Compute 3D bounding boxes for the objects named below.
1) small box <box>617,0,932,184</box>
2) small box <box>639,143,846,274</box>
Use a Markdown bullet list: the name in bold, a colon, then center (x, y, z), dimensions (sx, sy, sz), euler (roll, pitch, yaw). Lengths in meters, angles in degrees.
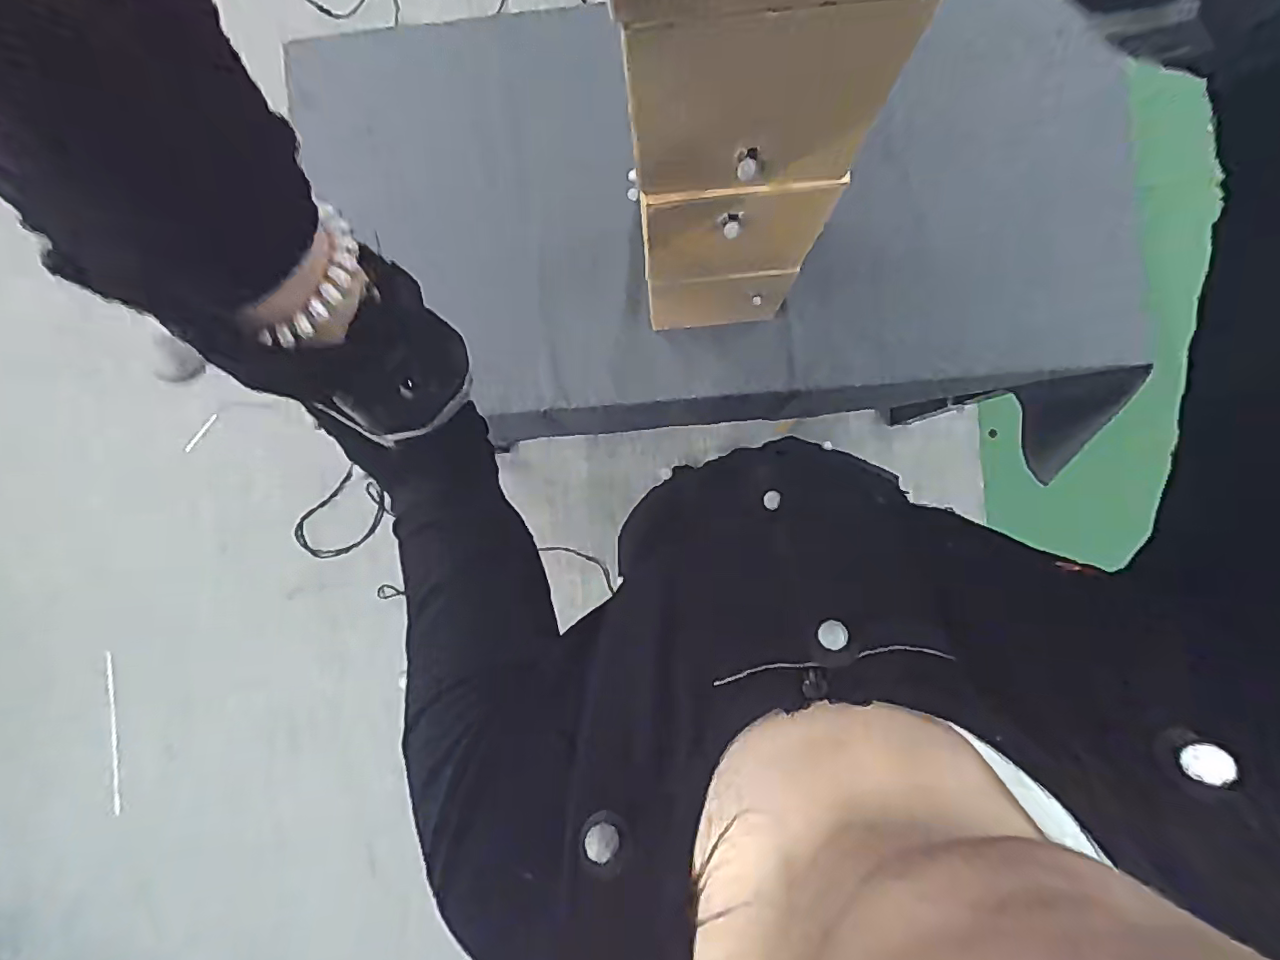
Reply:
- **small box**: center (0.074, -0.335, 0.378), dimensions (0.179, 0.176, 0.168), euler (-3, 88, 3)
- **small box**: center (0.086, -0.324, 0.540), dimensions (0.179, 0.176, 0.168), euler (-5, 88, 3)
